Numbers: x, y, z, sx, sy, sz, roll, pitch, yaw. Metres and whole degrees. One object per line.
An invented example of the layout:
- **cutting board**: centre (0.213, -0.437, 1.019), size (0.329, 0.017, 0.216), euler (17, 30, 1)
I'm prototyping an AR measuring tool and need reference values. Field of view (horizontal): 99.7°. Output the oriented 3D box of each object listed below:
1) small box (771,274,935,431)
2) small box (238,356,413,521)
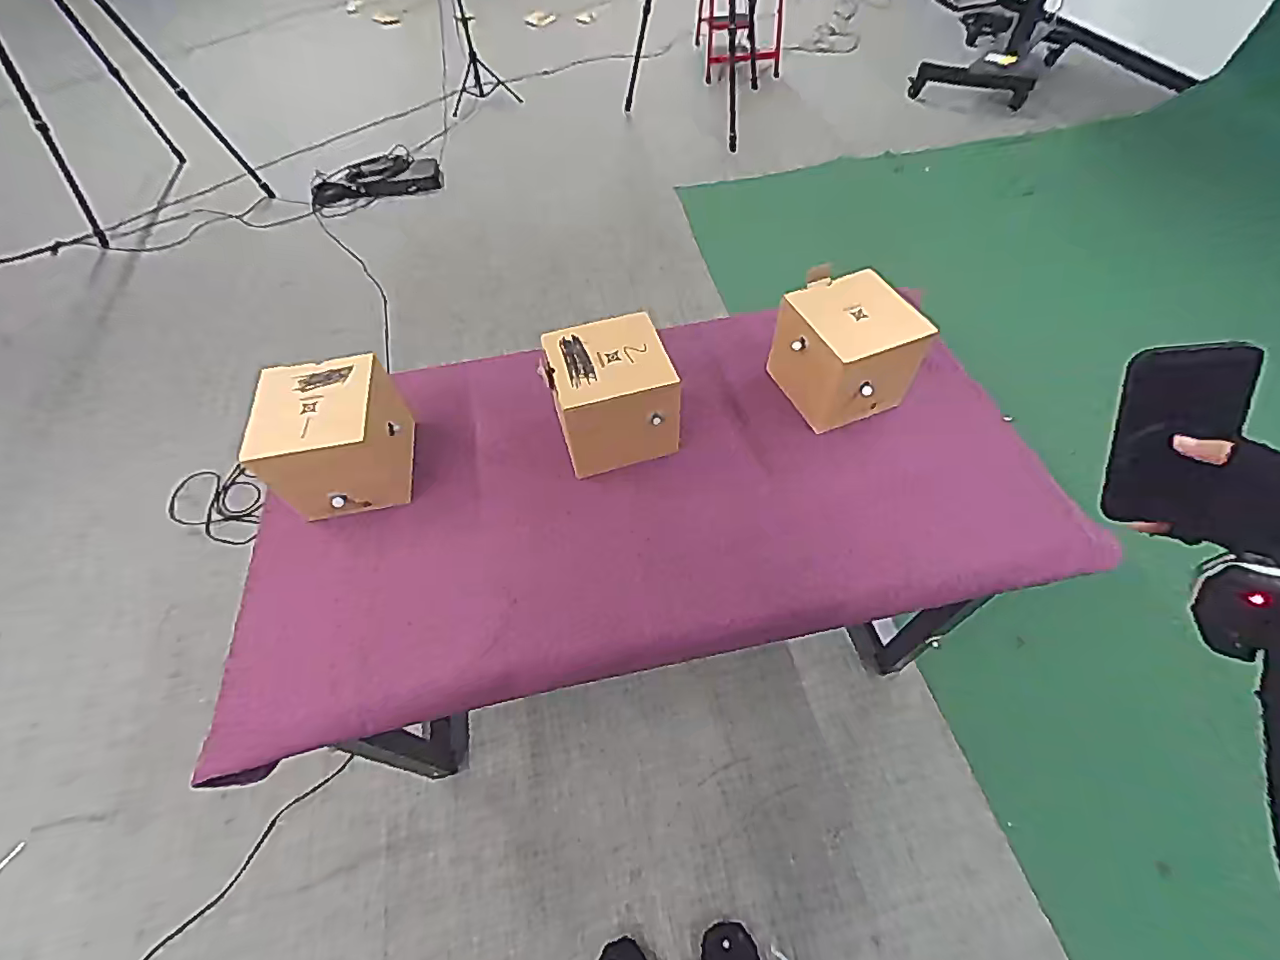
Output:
- **small box**: centre (0.337, -0.202, 0.896), size (0.168, 0.176, 0.179), euler (-20, 56, -10)
- **small box**: centre (-0.462, -0.061, 0.830), size (0.168, 0.176, 0.179), euler (-10, 57, -4)
